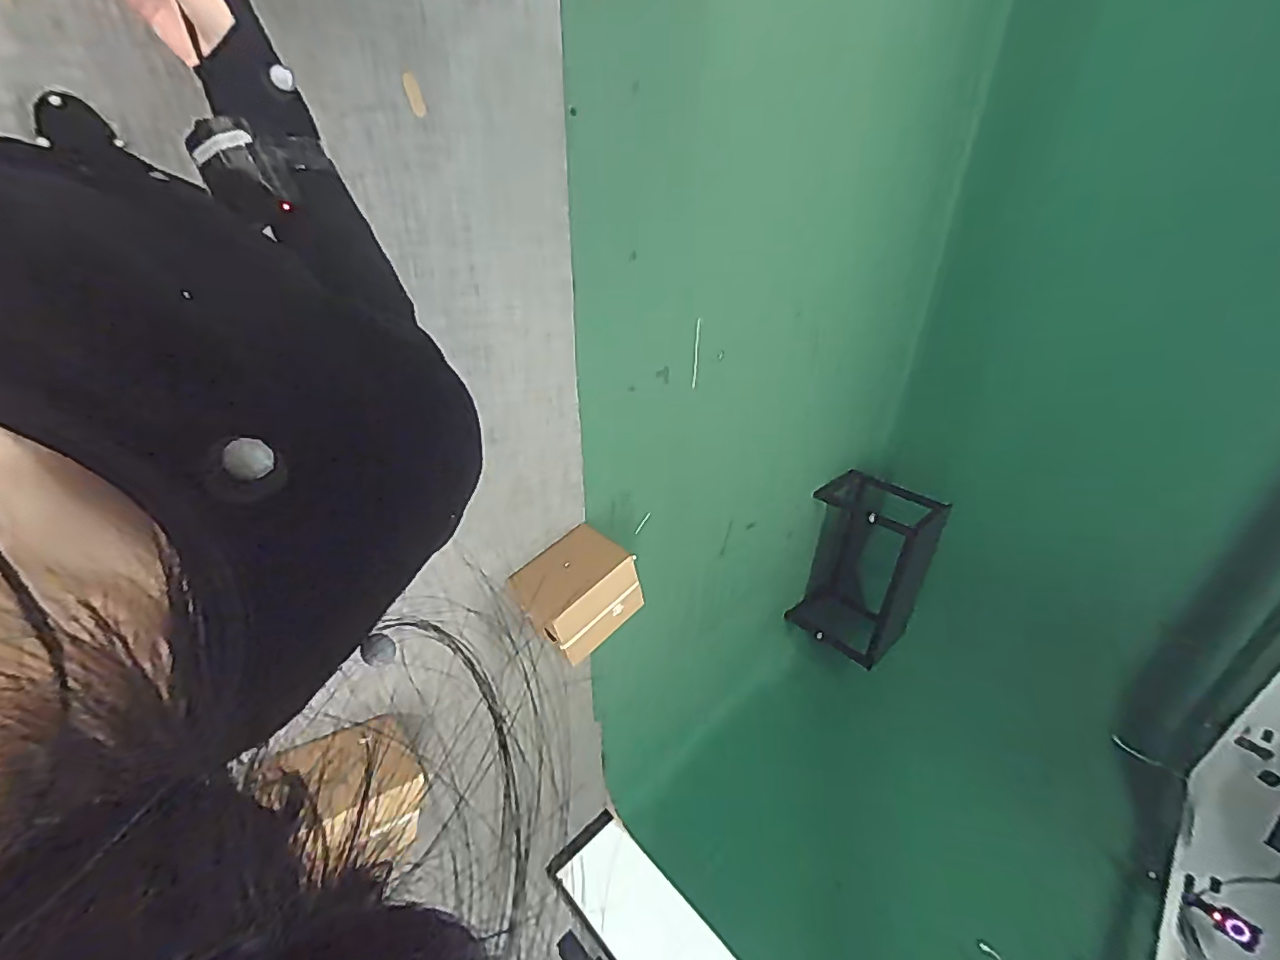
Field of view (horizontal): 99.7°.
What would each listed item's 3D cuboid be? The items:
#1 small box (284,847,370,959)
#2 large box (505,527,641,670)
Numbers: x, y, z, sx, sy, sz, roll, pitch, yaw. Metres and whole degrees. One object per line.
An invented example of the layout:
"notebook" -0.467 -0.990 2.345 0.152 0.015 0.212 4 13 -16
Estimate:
"small box" -0.891 1.201 1.532 0.168 0.176 0.179 -3 115 -47
"large box" -0.262 0.468 2.188 0.408 0.320 0.320 -38 136 -29
